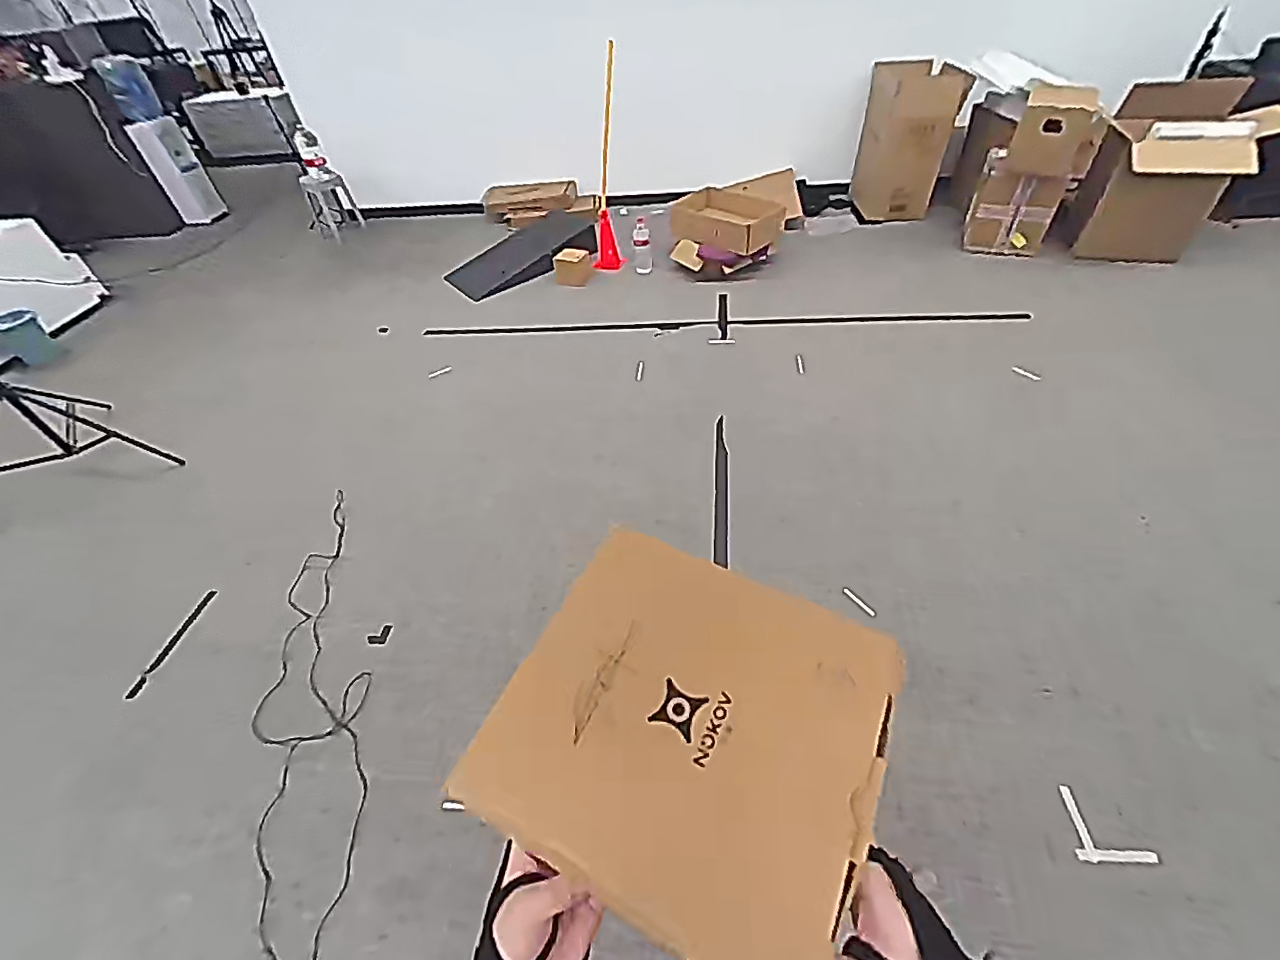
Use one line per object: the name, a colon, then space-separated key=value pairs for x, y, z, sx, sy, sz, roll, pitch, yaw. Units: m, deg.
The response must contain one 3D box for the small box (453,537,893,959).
small box: x=0.028 y=0.169 z=0.336 sx=0.179 sy=0.176 sz=0.168 roll=19 pitch=56 yaw=19
